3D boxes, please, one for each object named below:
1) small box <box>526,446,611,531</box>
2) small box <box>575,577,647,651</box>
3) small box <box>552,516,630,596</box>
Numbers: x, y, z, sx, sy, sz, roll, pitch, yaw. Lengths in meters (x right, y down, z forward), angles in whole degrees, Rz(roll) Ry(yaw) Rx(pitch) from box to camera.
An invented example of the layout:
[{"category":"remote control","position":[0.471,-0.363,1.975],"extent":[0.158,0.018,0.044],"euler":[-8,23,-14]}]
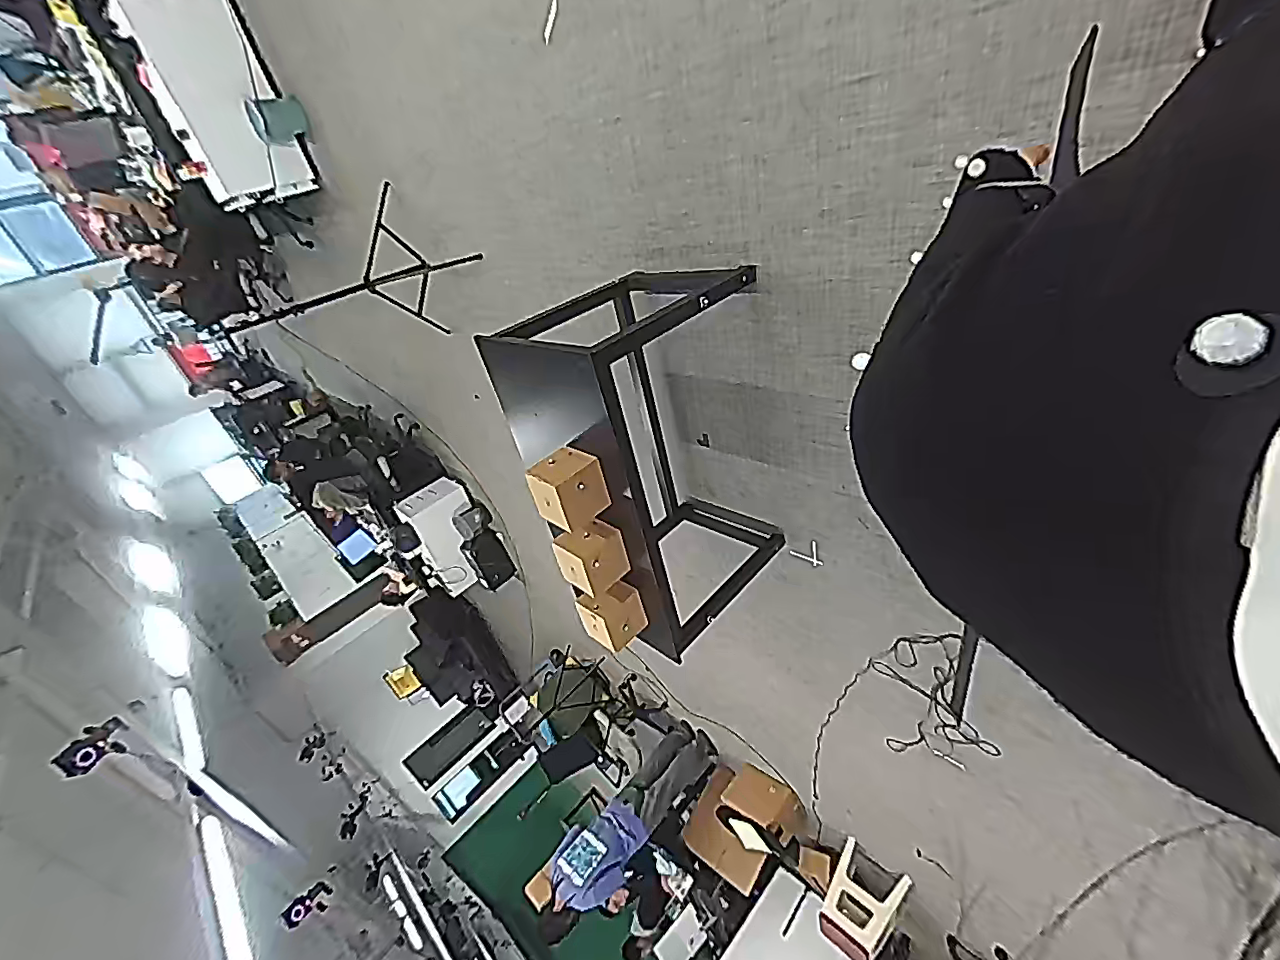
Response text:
[{"category":"small box","position":[-0.213,0.019,1.644],"extent":[0.168,0.176,0.179],"euler":[22,138,44]},{"category":"small box","position":[-0.097,0.467,1.936],"extent":[0.168,0.176,0.179],"euler":[18,135,44]},{"category":"small box","position":[-0.158,0.243,1.792],"extent":[0.168,0.176,0.179],"euler":[22,138,42]}]
